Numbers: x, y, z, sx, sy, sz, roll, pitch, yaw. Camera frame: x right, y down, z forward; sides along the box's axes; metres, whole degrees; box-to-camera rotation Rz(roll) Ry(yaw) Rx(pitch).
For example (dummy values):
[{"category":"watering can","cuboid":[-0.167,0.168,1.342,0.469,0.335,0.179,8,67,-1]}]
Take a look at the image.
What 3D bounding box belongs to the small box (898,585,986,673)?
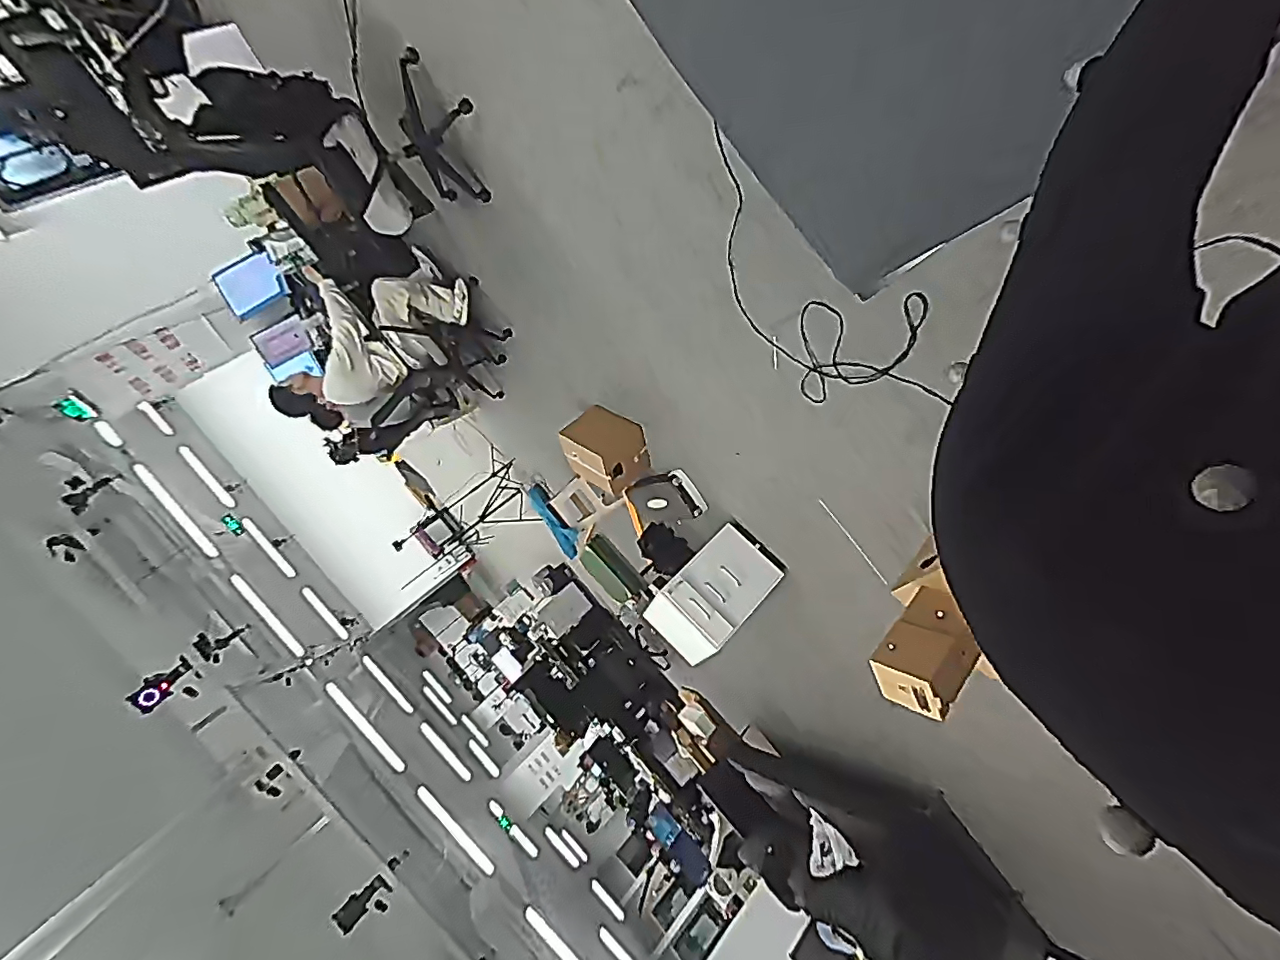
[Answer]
[{"category":"small box","cuboid":[0.919,0.441,1.632,0.179,0.176,0.168,7,131,53]}]
